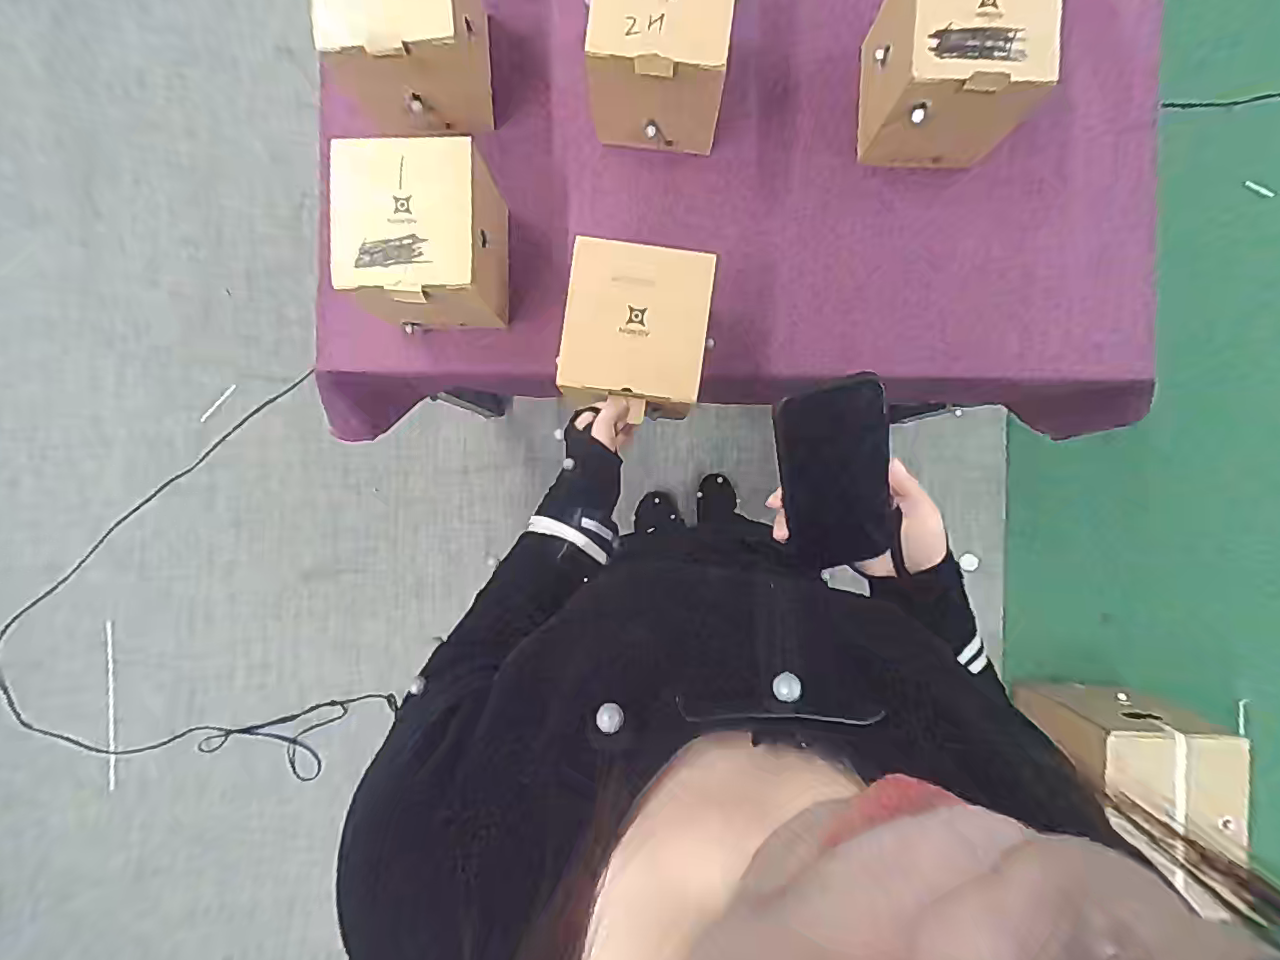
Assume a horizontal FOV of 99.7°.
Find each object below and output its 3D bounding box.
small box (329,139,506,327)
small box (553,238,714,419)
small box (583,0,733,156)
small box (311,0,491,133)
[{"bbox_3d":[-0.276,-0.306,0.704,0.168,0.176,0.179,0,88,0],"label":"small box"},{"bbox_3d":[-0.008,-0.180,0.698,0.168,0.176,0.179,9,90,-1],"label":"small box"},{"bbox_3d":[0.027,-0.562,0.699,0.168,0.176,0.179,8,90,1],"label":"small box"},{"bbox_3d":[-0.299,-0.584,0.705,0.168,0.176,0.179,-3,91,0],"label":"small box"}]
